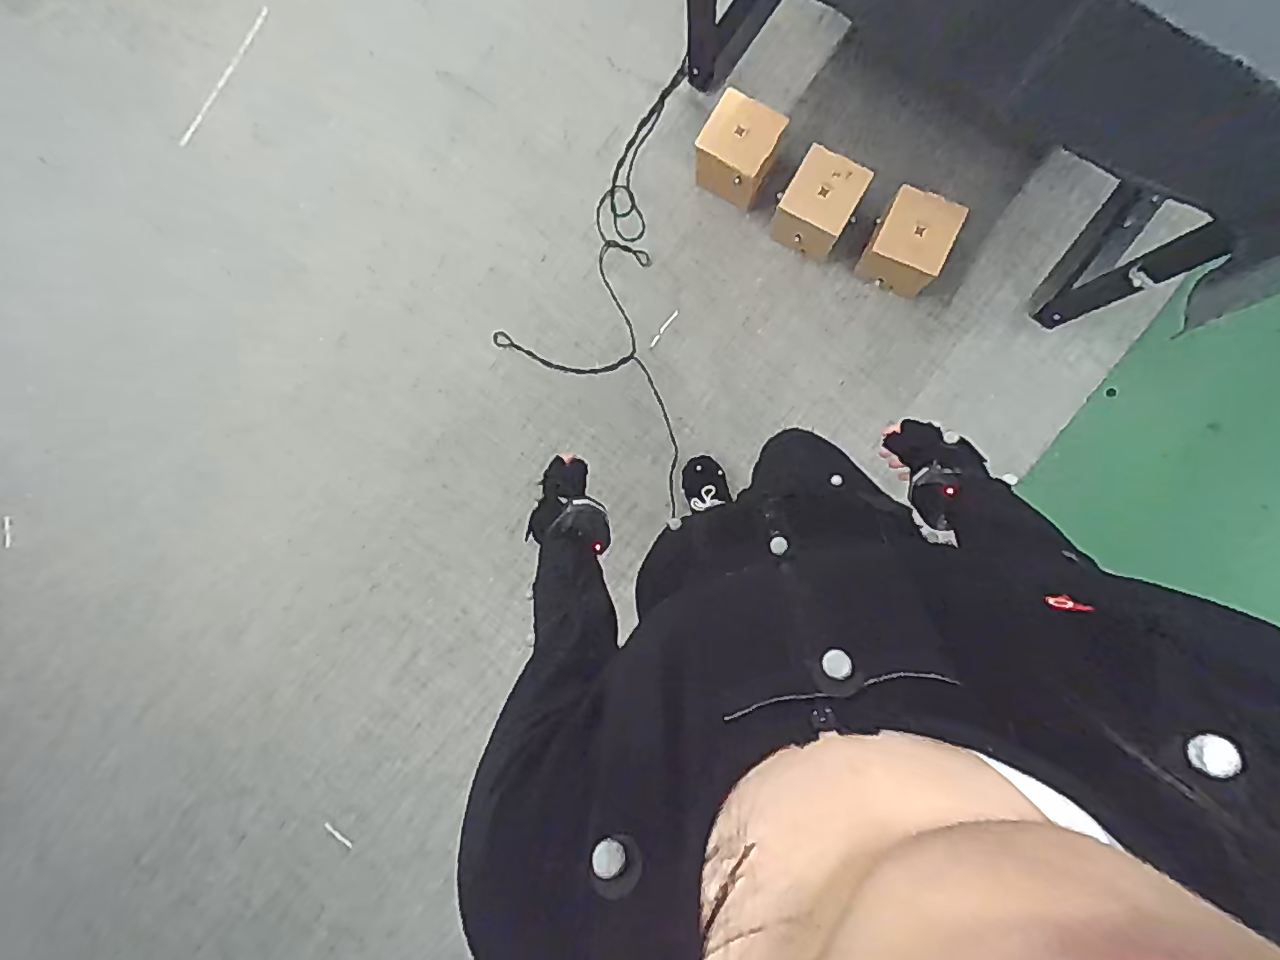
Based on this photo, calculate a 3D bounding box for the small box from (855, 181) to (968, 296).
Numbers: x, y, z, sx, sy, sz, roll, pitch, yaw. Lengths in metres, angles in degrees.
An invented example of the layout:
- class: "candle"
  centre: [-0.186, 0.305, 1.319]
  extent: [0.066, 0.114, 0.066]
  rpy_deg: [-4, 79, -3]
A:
- class: "small box"
  centre: [0.663, -0.592, 1.345]
  extent: [0.168, 0.176, 0.179]
  rpy_deg: [25, 92, 5]

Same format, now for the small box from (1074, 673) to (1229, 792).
- class: "small box"
  centre: [1.221, 0.596, 1.310]
  extent: [0.179, 0.176, 0.168]
  rpy_deg: [36, 94, 5]
